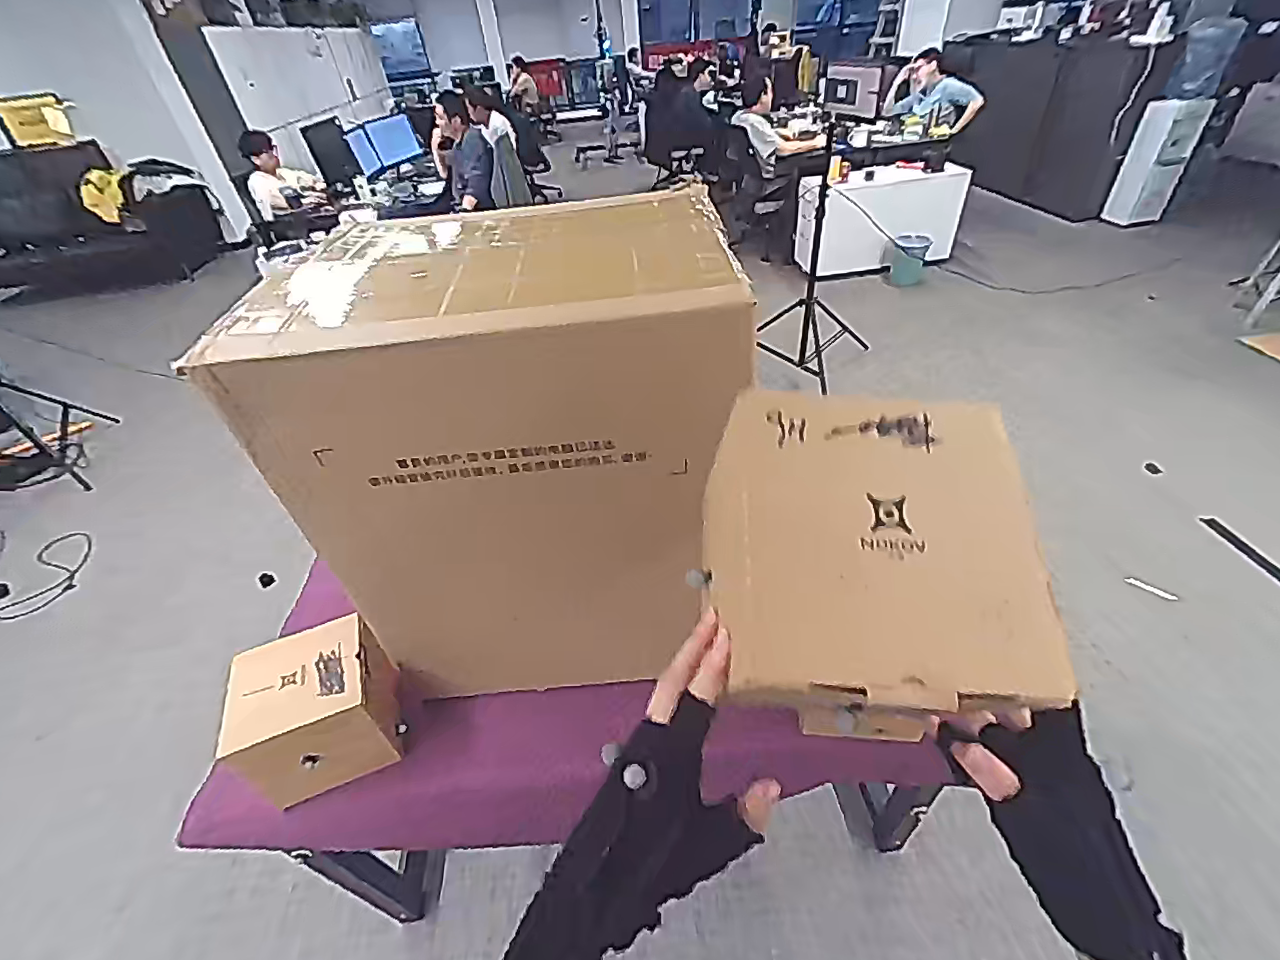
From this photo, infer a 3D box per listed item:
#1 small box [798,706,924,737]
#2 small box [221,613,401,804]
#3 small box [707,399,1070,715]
[{"bbox_3d":[0.319,0.254,0.796,0.168,0.176,0.179,1,39,8],"label":"small box"},{"bbox_3d":[-0.467,0.335,0.800,0.179,0.176,0.168,-18,41,-16],"label":"small box"},{"bbox_3d":[0.142,0.065,0.383,0.168,0.176,0.179,4,64,0],"label":"small box"}]
